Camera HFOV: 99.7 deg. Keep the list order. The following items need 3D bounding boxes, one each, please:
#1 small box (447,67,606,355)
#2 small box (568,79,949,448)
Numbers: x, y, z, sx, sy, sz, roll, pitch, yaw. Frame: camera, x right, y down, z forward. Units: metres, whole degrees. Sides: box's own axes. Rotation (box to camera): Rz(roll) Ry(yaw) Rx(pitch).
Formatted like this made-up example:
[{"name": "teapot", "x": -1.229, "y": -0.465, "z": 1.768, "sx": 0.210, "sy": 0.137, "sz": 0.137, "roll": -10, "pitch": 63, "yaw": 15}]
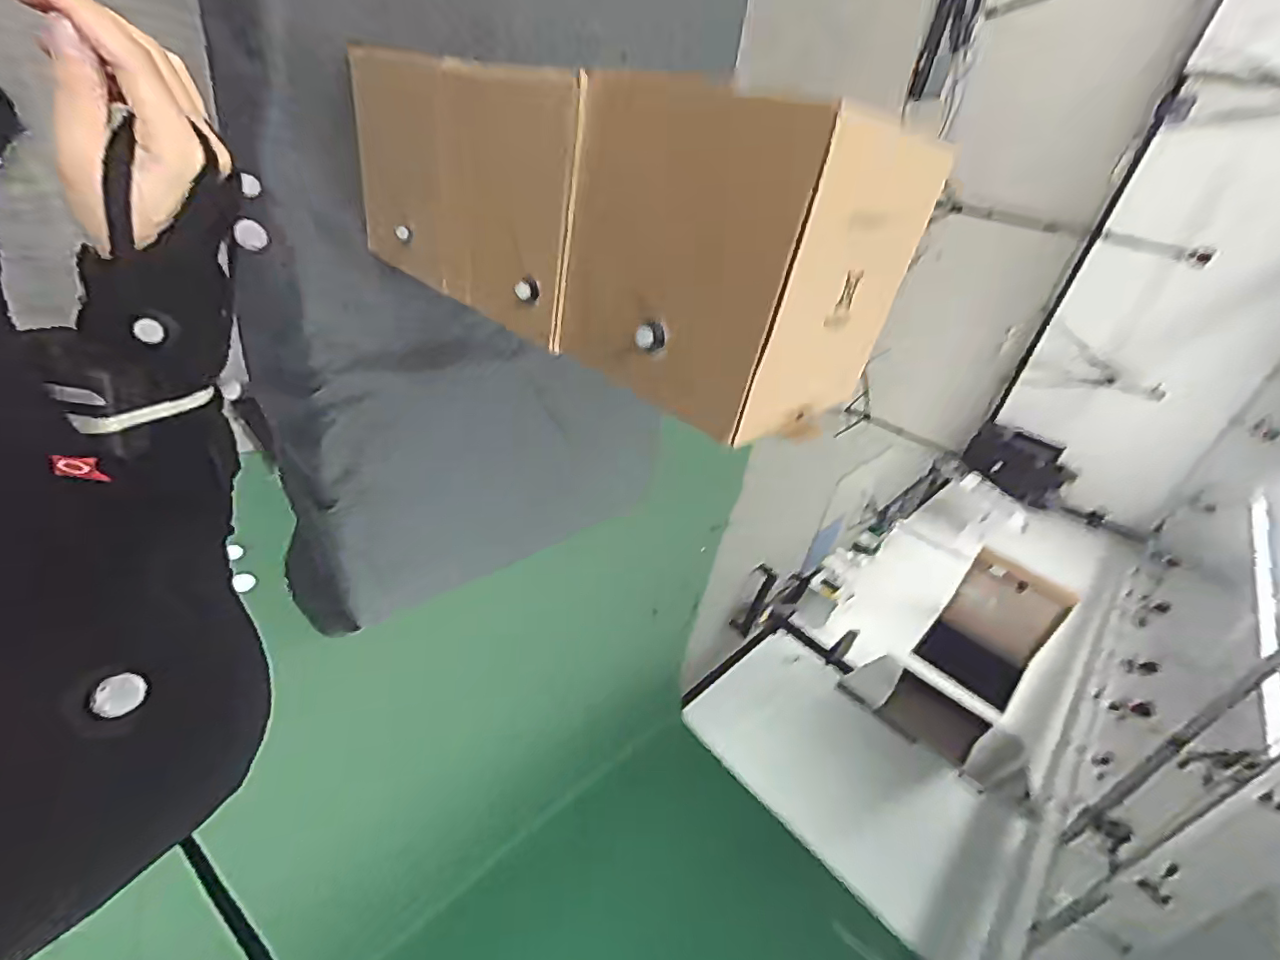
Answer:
[{"name": "small box", "x": -0.049, "y": -0.225, "z": 0.459, "sx": 0.168, "sy": 0.176, "sz": 0.179, "roll": -21, "pitch": 135, "yaw": -42}, {"name": "small box", "x": 0.068, "y": -0.149, "z": 0.375, "sx": 0.168, "sy": 0.176, "sz": 0.179, "roll": -23, "pitch": 135, "yaw": -43}]
